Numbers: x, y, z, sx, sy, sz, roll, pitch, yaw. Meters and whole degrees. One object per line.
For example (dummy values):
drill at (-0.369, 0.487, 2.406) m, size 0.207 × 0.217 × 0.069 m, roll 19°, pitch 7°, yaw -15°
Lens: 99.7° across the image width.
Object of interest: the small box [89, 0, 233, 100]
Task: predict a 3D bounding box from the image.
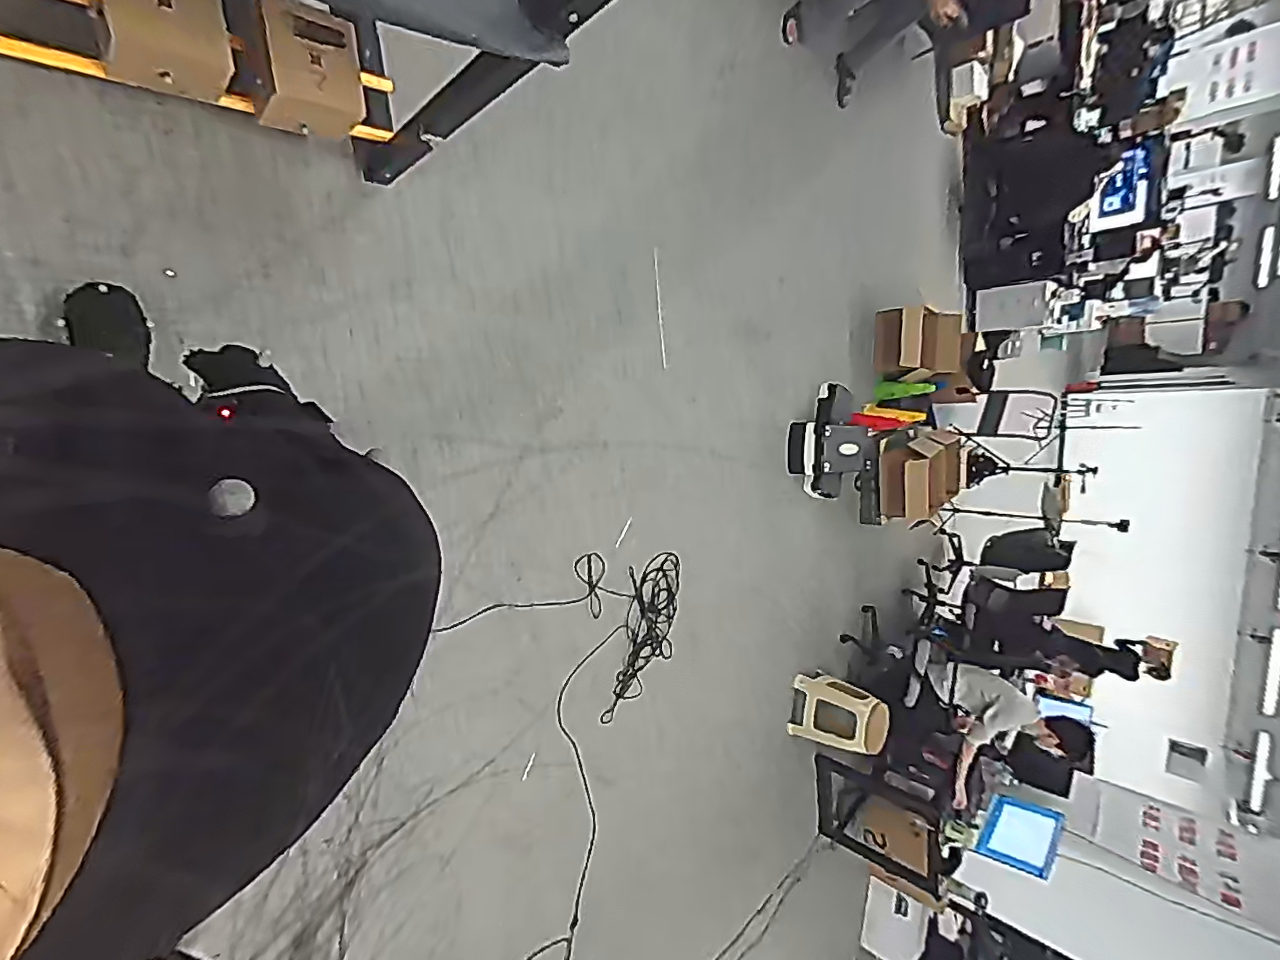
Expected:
small box at (-0.848, -0.813, 0.953) m, size 0.168 × 0.176 × 0.179 m, roll -16°, pitch 106°, yaw -44°
